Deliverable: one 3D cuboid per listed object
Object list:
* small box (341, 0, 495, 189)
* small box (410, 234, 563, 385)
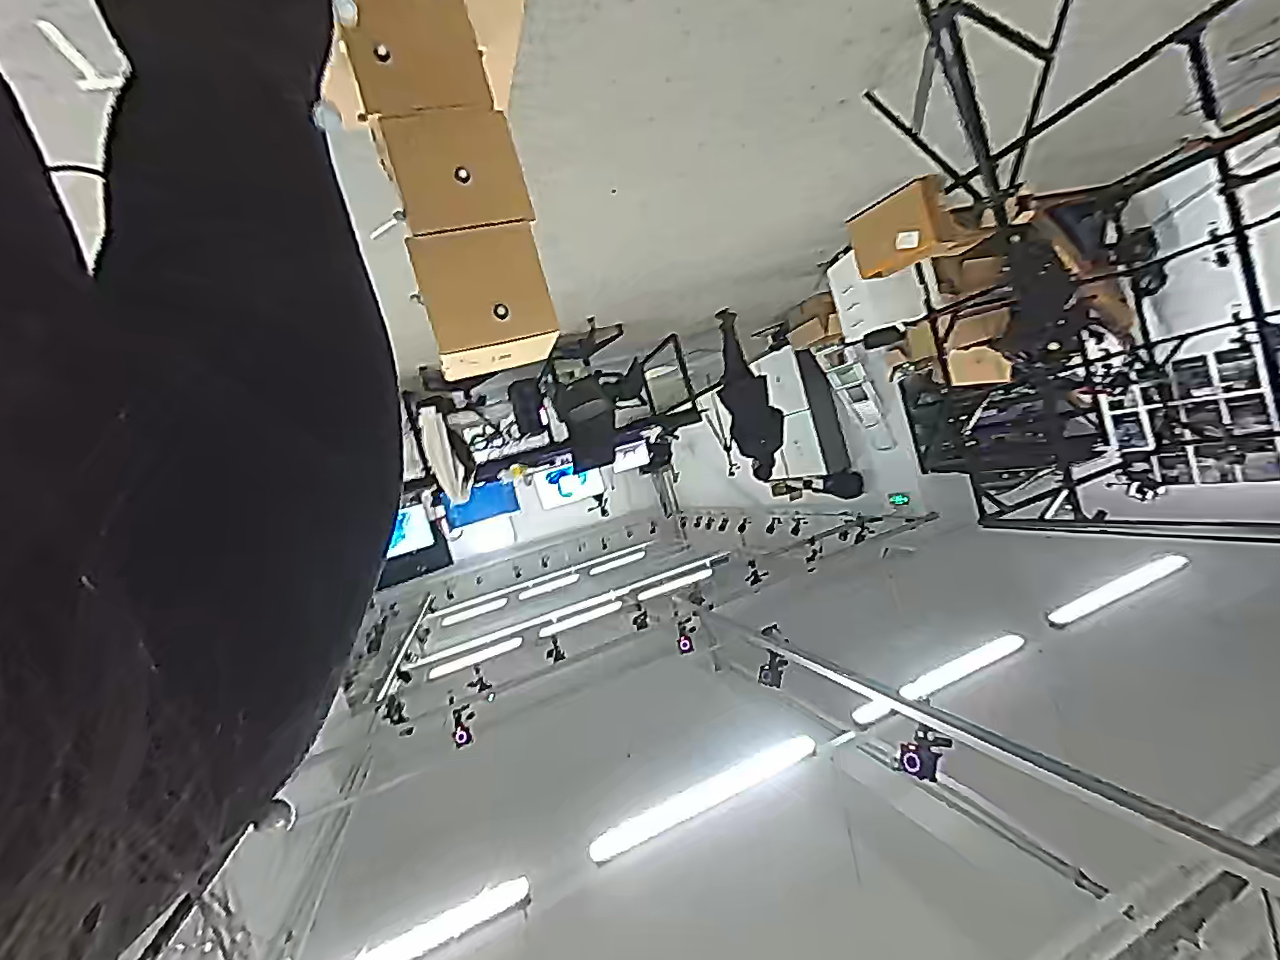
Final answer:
[{"bbox_3d":[-0.330,-0.579,0.820,0.179,0.176,0.168,-18,-177,-15],"label":"small box"},{"bbox_3d":[-0.238,-0.264,0.843,0.179,0.176,0.168,-17,-178,-17],"label":"small box"}]
